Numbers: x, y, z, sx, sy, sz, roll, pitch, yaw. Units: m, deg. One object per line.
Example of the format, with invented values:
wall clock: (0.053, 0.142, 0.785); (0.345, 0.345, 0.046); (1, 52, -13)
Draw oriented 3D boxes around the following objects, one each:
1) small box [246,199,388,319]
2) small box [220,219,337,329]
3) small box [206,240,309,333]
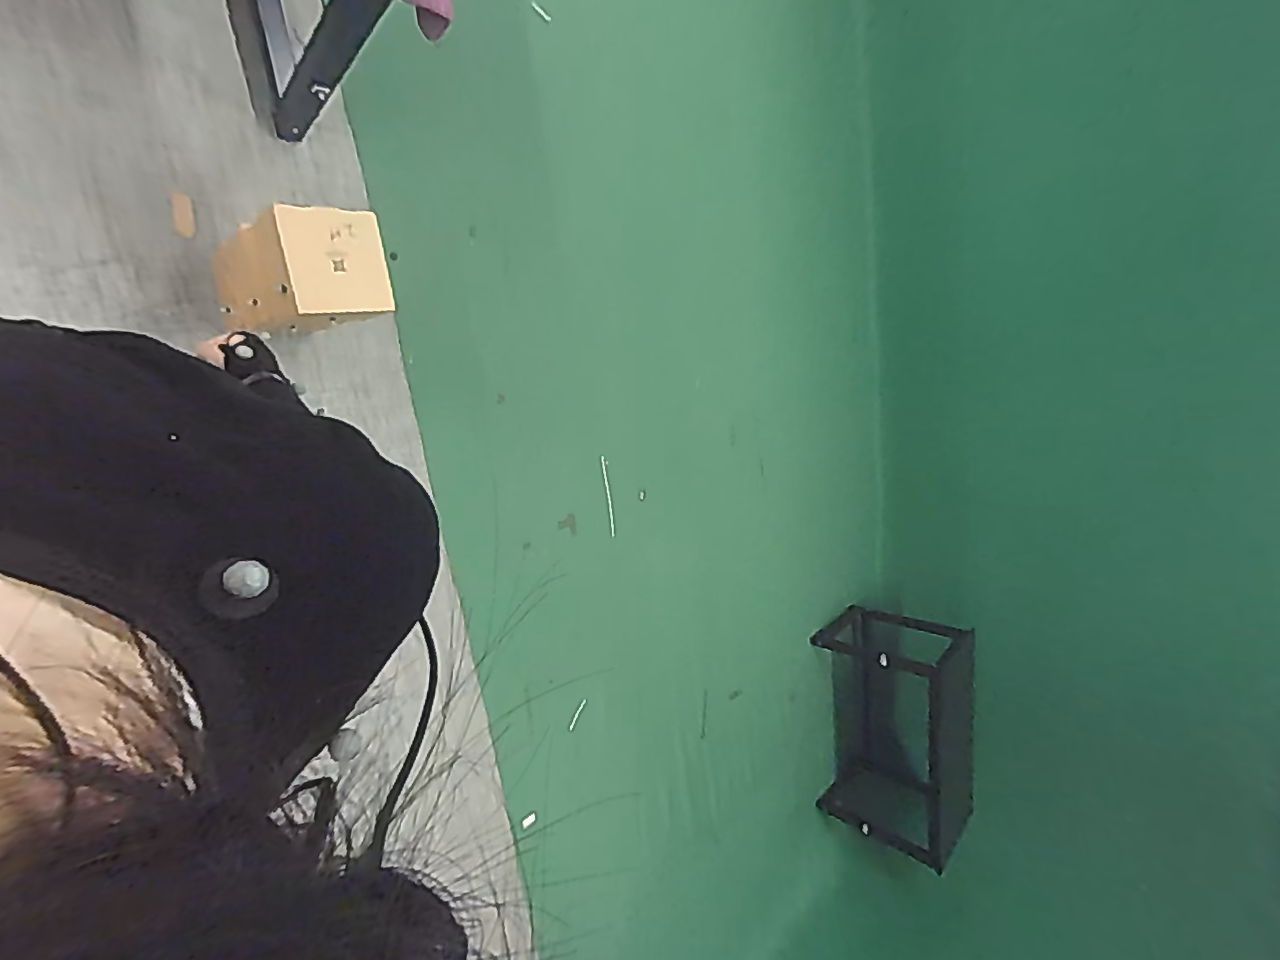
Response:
small box: (-0.592, -0.392, 0.993); (0.168, 0.176, 0.179); (-20, 108, -44)
small box: (-0.721, -0.410, 1.096); (0.168, 0.176, 0.179); (-21, 110, -43)
small box: (-0.840, -0.422, 1.205); (0.179, 0.176, 0.168); (-17, 106, -44)
